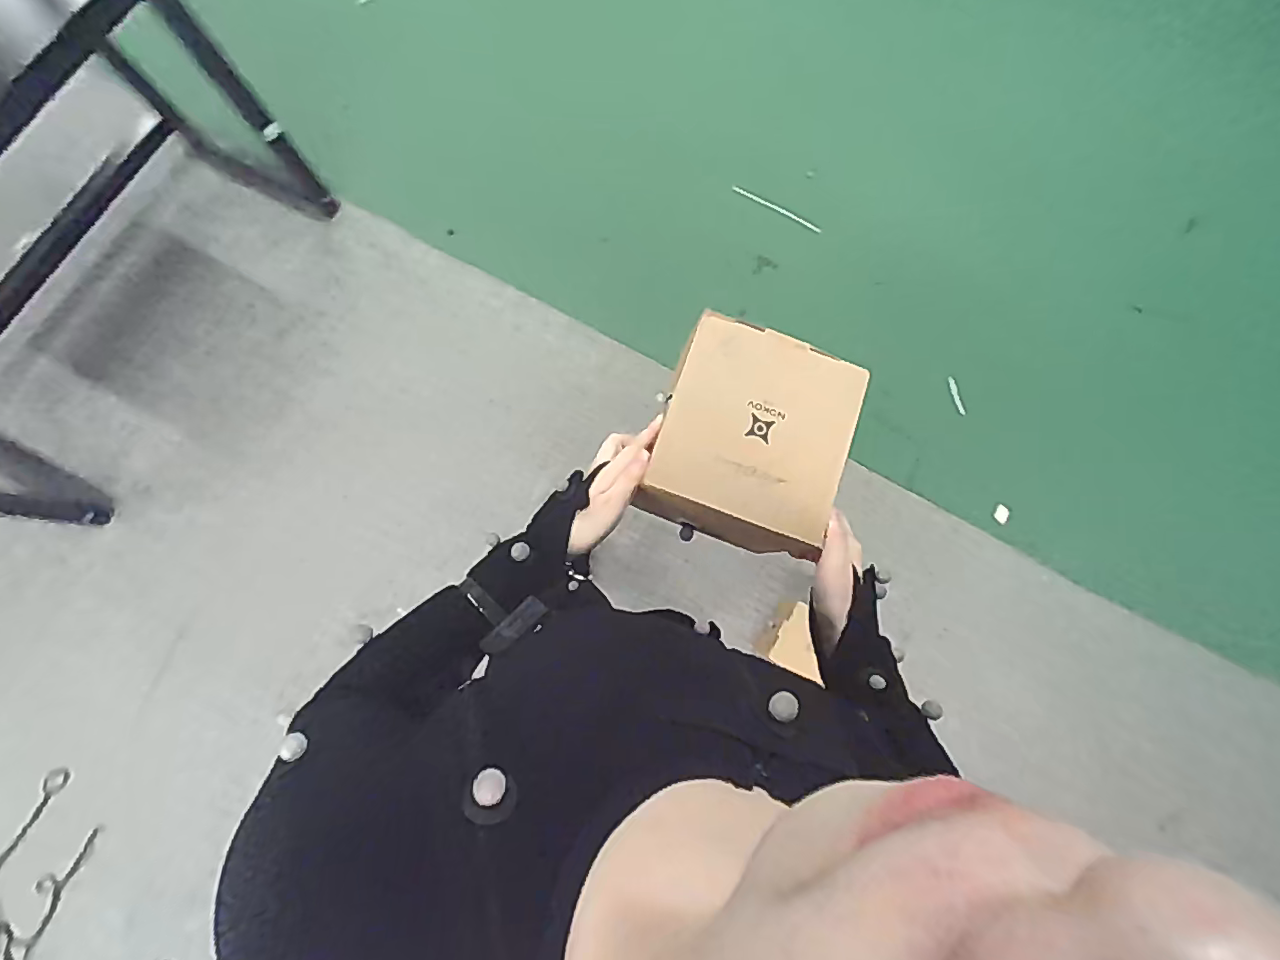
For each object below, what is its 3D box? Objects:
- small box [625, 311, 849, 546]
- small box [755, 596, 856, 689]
[{"bbox_3d":[0.087,-0.039,0.570,0.168,0.176,0.179,19,80,-2],"label":"small box"},{"bbox_3d":[0.427,0.423,1.430,0.179,0.176,0.168,33,81,6],"label":"small box"}]
